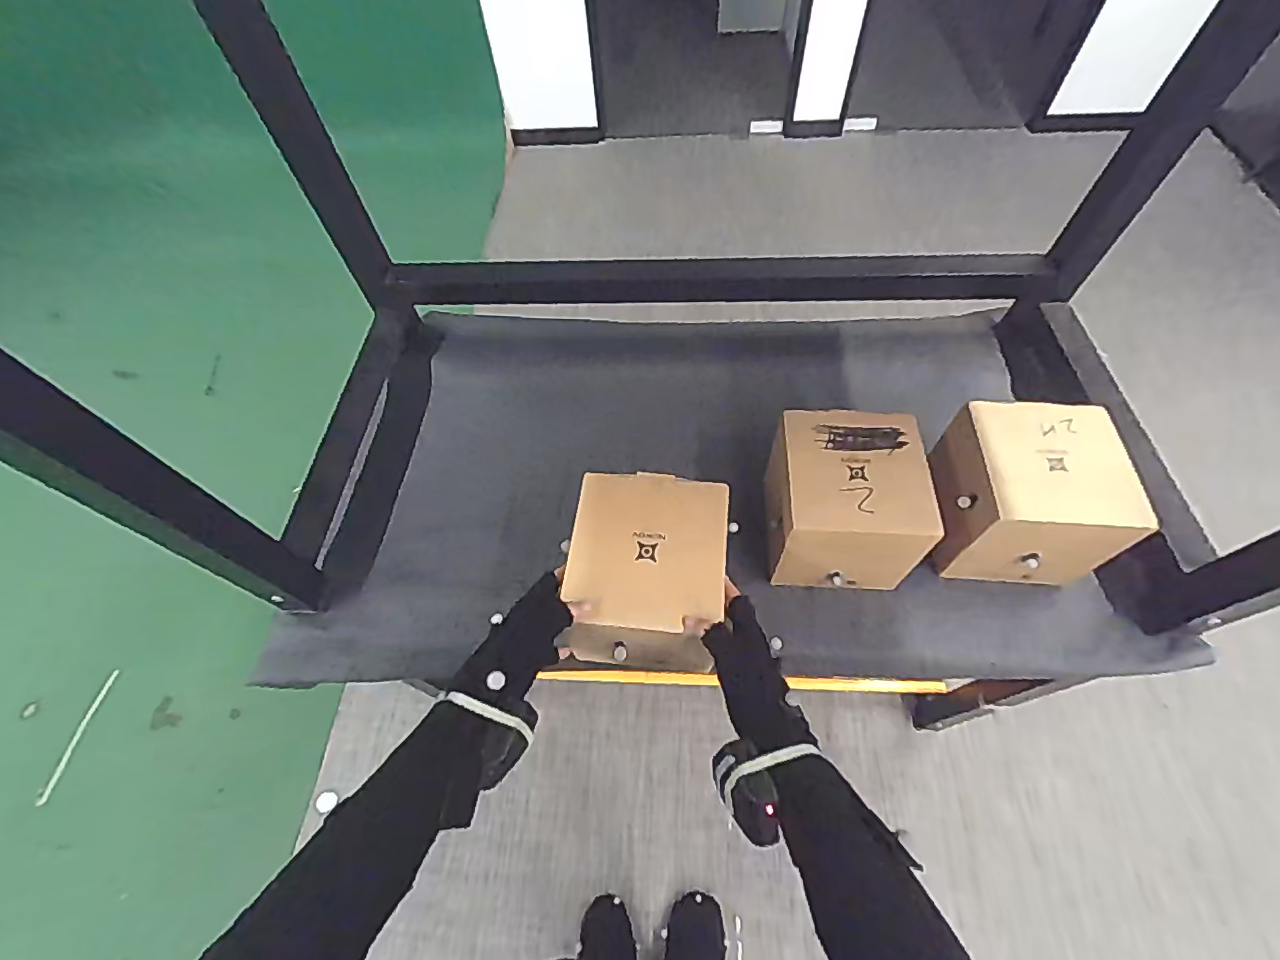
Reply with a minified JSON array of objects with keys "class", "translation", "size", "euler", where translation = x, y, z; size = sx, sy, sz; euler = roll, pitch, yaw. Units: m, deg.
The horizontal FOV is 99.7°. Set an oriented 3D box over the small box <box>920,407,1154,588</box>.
[{"class":"small box","translation":[0.489,0.028,0.703],"size":[0.168,0.176,0.179],"euler":[4,57,6]}]
